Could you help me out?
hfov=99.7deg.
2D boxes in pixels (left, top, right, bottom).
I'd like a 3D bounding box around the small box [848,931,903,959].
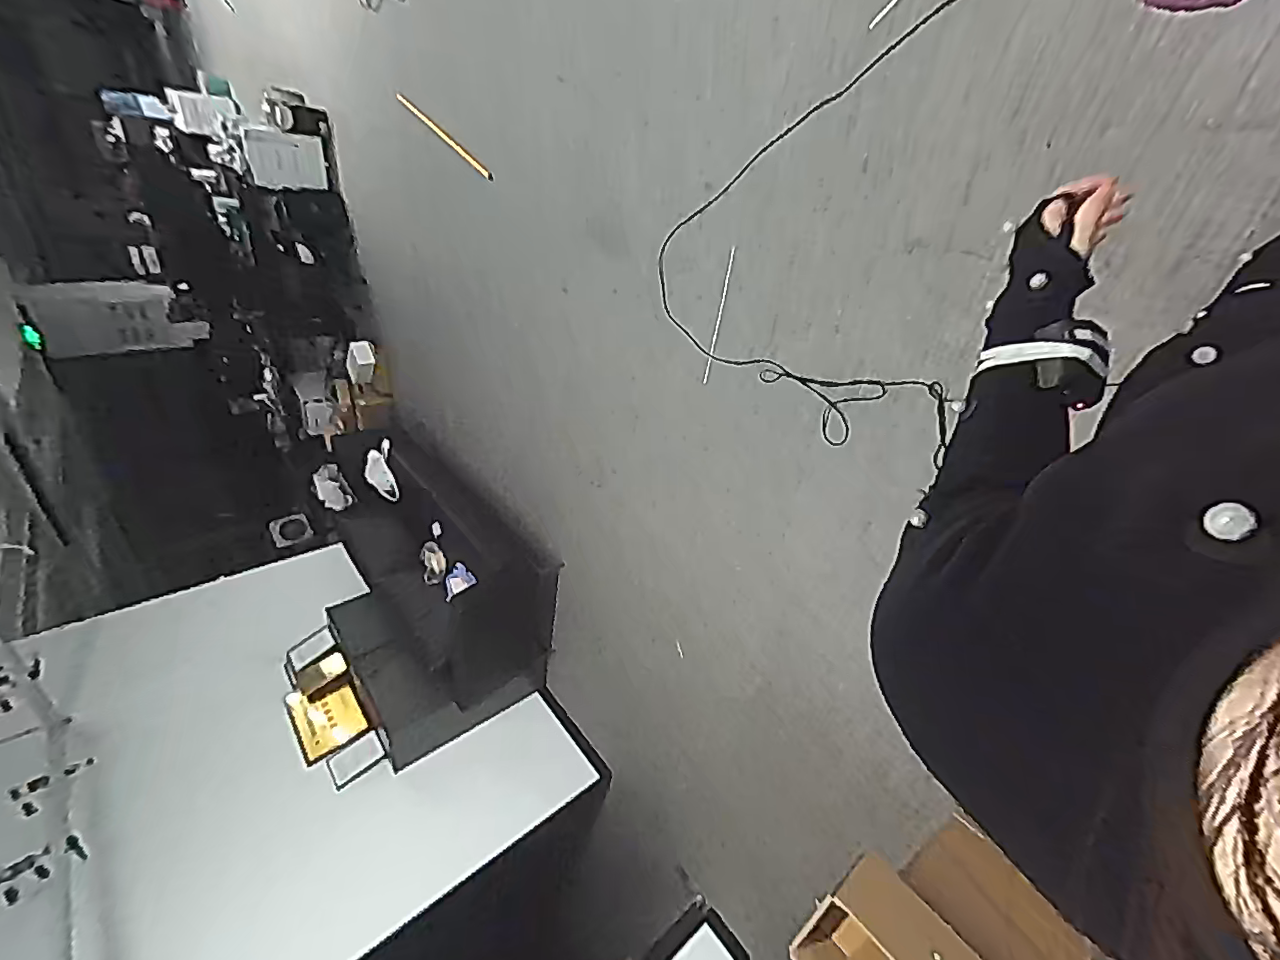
[{"bbox_3d":[0.607,1.330,1.392,0.168,0.176,0.179,36,130,36],"label":"small box"}]
